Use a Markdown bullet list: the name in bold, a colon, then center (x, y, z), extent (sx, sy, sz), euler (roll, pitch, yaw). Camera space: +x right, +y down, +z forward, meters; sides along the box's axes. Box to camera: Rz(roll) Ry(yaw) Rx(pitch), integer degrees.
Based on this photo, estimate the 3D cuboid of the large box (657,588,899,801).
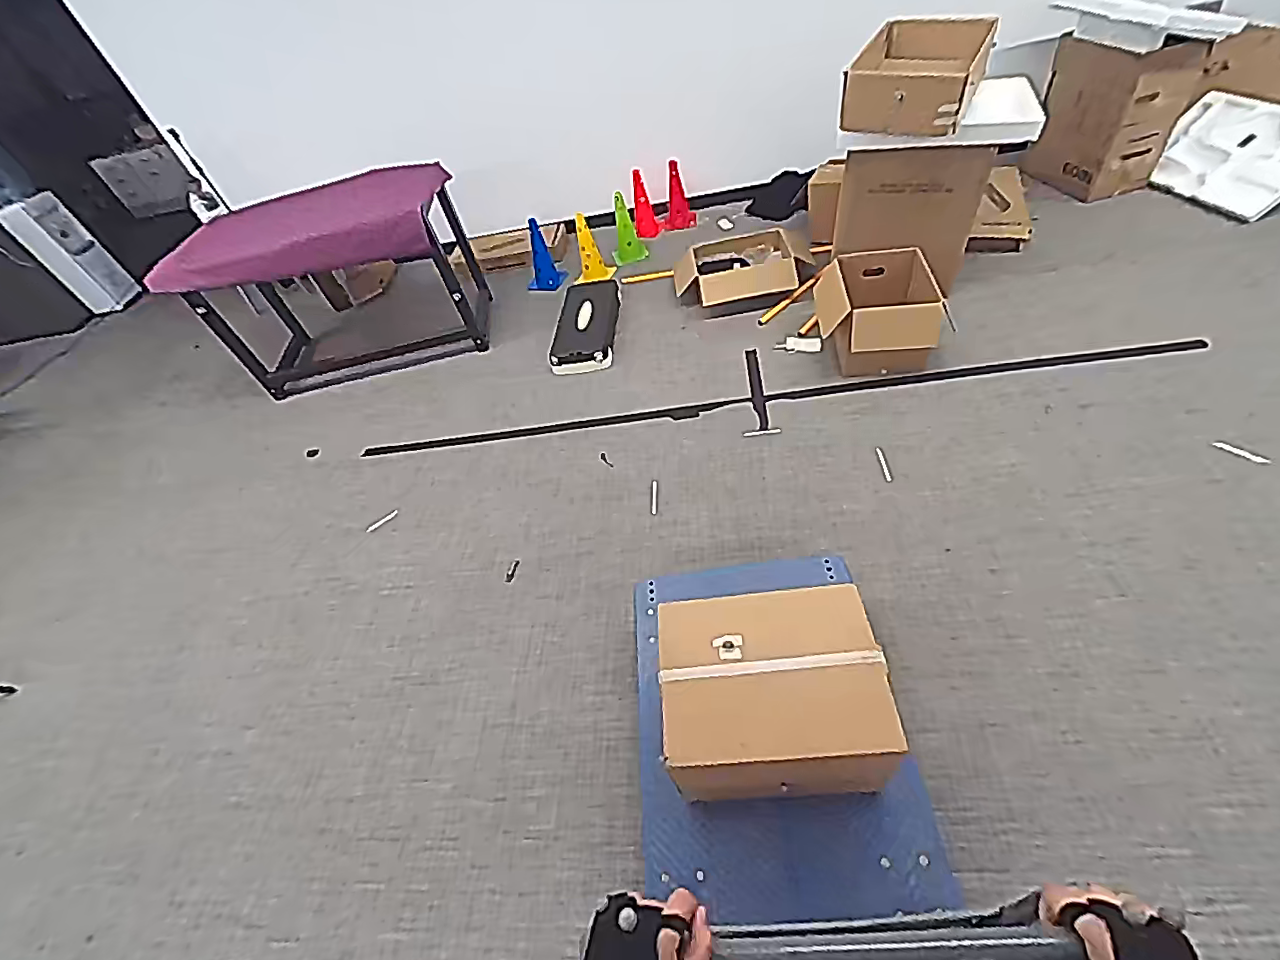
- **large box**: center (0.266, 0.459, 1.133), extent (0.408, 0.320, 0.320), euler (-8, 47, 8)
